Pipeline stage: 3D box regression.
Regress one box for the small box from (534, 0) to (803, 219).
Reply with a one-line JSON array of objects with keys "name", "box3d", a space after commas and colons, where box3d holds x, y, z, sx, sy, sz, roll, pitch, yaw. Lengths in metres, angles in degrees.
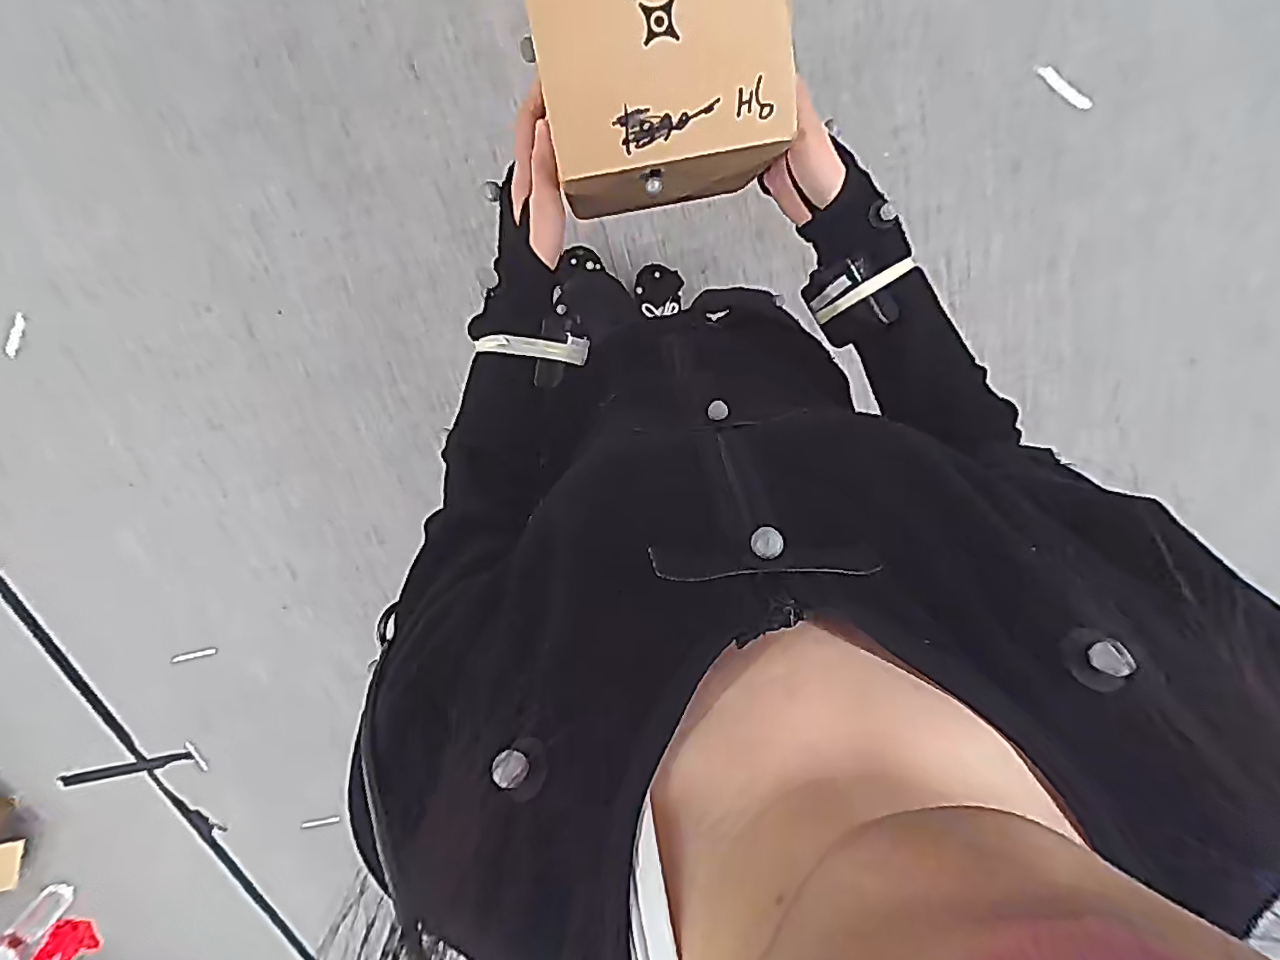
[{"name": "small box", "box3d": [0.011, -0.320, 0.413, 0.168, 0.176, 0.179, -10, 107, 0]}]
